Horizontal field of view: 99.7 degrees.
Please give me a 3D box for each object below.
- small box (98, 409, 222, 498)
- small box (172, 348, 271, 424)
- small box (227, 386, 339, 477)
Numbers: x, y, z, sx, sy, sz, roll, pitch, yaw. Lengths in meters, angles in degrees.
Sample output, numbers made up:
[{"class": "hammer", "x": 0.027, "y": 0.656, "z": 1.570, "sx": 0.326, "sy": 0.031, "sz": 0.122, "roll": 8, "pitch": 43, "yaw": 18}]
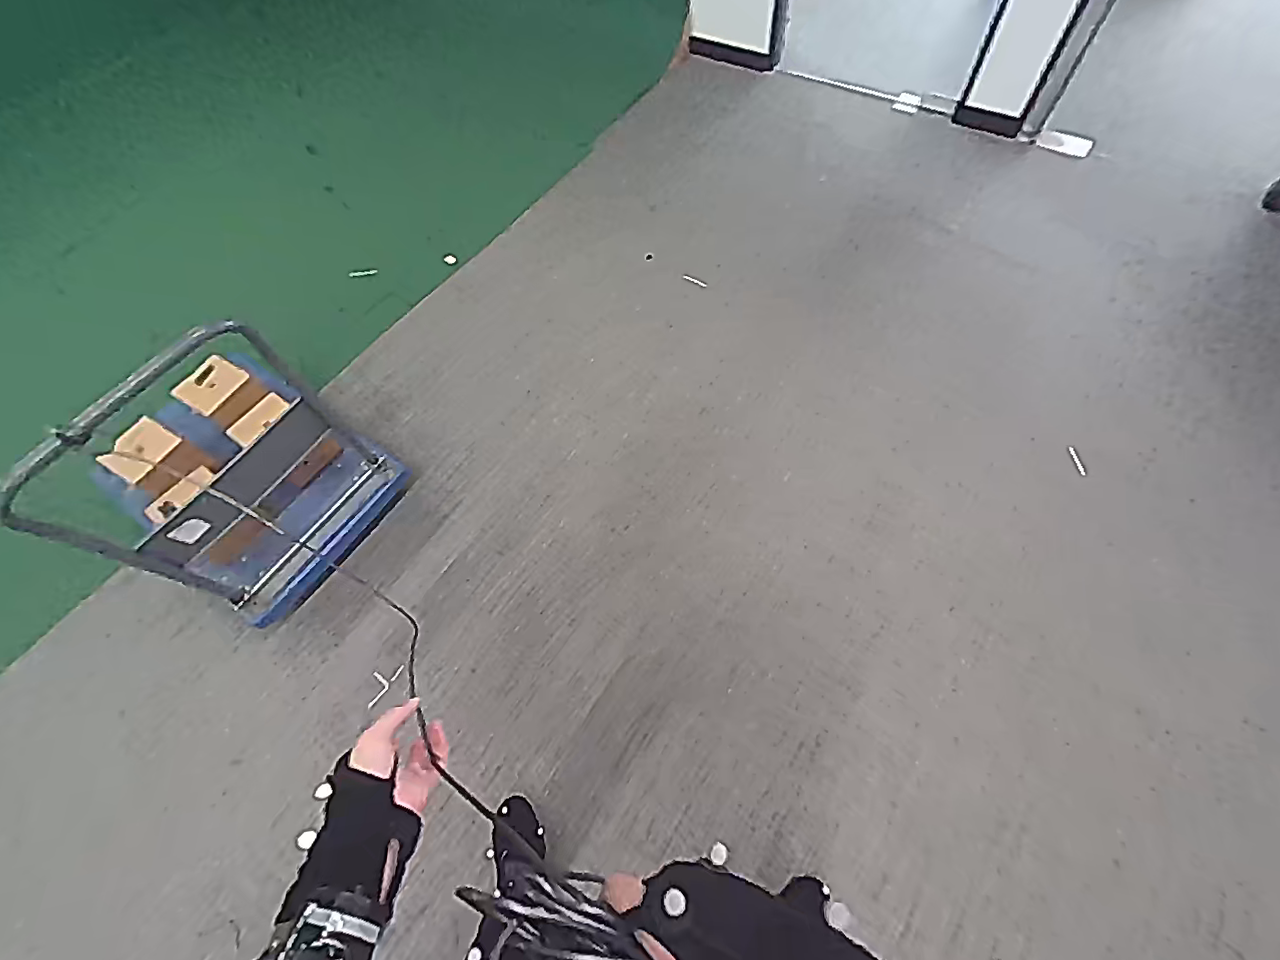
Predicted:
[{"class": "small box", "x": -1.386, "y": -0.069, "z": 1.575, "sx": 0.179, "sy": 0.176, "sz": 0.168, "roll": 27, "pitch": 68, "yaw": 16}, {"class": "small box", "x": -1.258, "y": -0.267, "z": 1.664, "sx": 0.179, "sy": 0.176, "sz": 0.168, "roll": 27, "pitch": 69, "yaw": 15}, {"class": "small box", "x": -1.036, "y": -0.136, "z": 1.583, "sx": 0.179, "sy": 0.176, "sz": 0.168, "roll": 32, "pitch": 70, "yaw": 17}]
